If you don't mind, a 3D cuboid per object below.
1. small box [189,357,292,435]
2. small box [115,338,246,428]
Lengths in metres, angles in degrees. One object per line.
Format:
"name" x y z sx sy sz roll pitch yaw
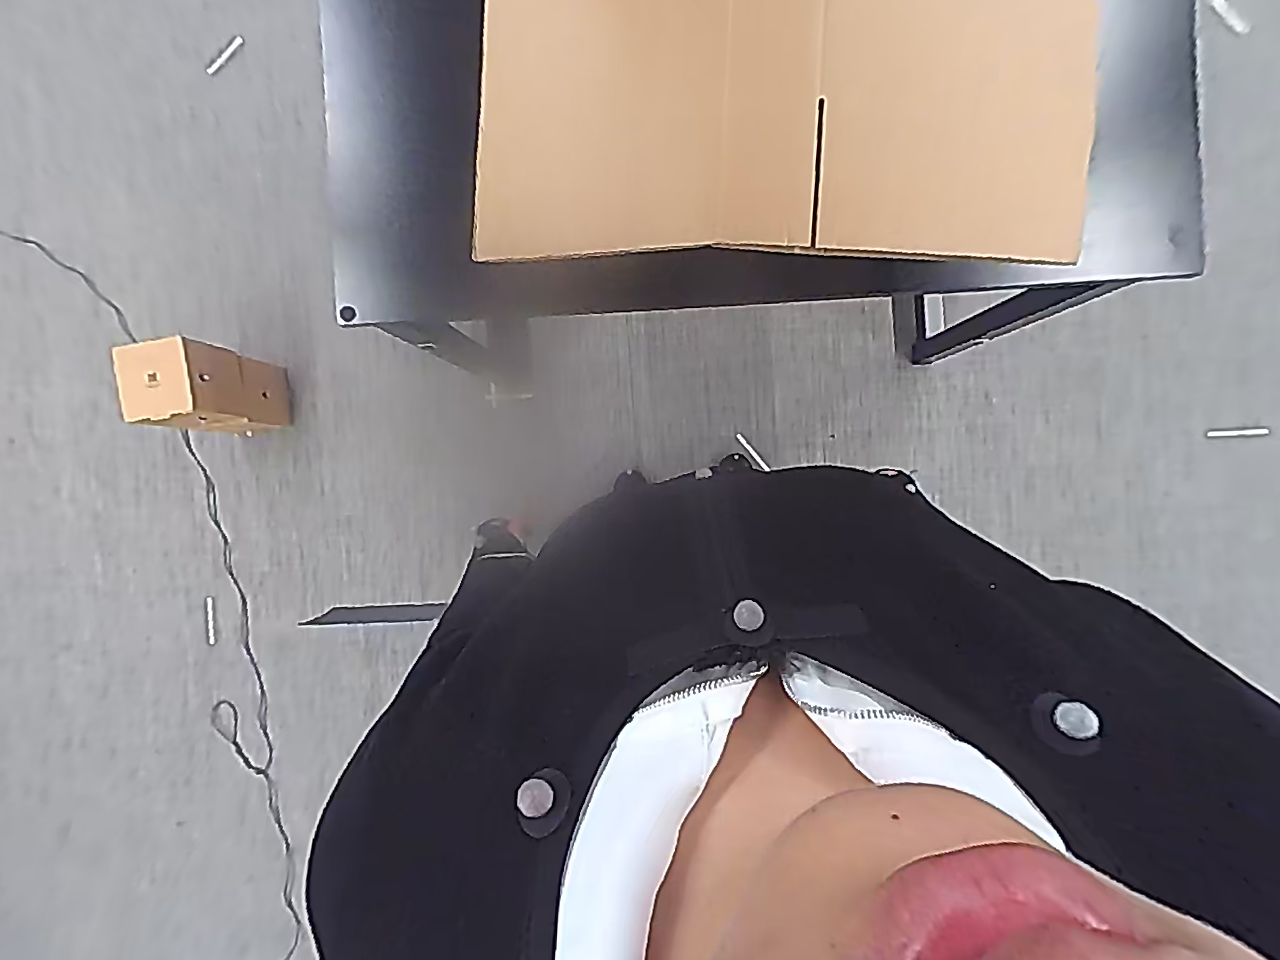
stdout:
"small box" -1.081 -0.221 1.461 0.168 0.176 0.179 -7 91 3
"small box" -1.090 -0.224 1.299 0.168 0.176 0.179 -10 90 2
